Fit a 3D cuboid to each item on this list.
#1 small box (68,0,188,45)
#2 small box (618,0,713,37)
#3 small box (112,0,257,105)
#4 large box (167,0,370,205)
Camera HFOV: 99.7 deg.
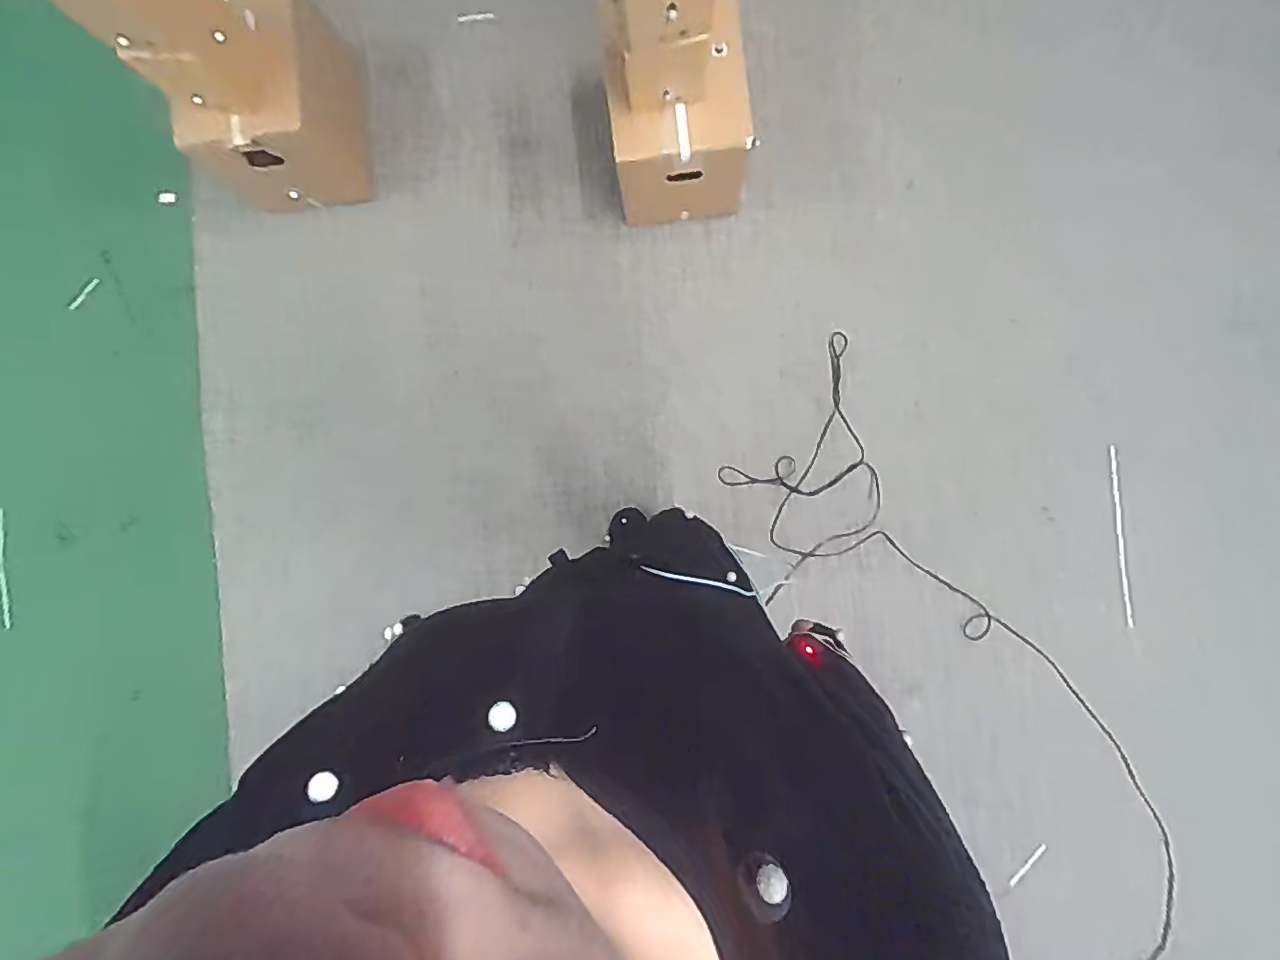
[{"bbox_3d":[-0.969,-0.952,0.985,0.168,0.176,0.179,9,92,4],"label":"small box"},{"bbox_3d":[0.035,-0.920,0.936,0.168,0.176,0.179,-14,91,4],"label":"small box"},{"bbox_3d":[-0.954,-0.944,1.147,0.168,0.176,0.179,5,91,3],"label":"small box"},{"bbox_3d":[-0.940,-0.997,1.389,0.320,0.320,0.408,-6,89,3],"label":"large box"}]
